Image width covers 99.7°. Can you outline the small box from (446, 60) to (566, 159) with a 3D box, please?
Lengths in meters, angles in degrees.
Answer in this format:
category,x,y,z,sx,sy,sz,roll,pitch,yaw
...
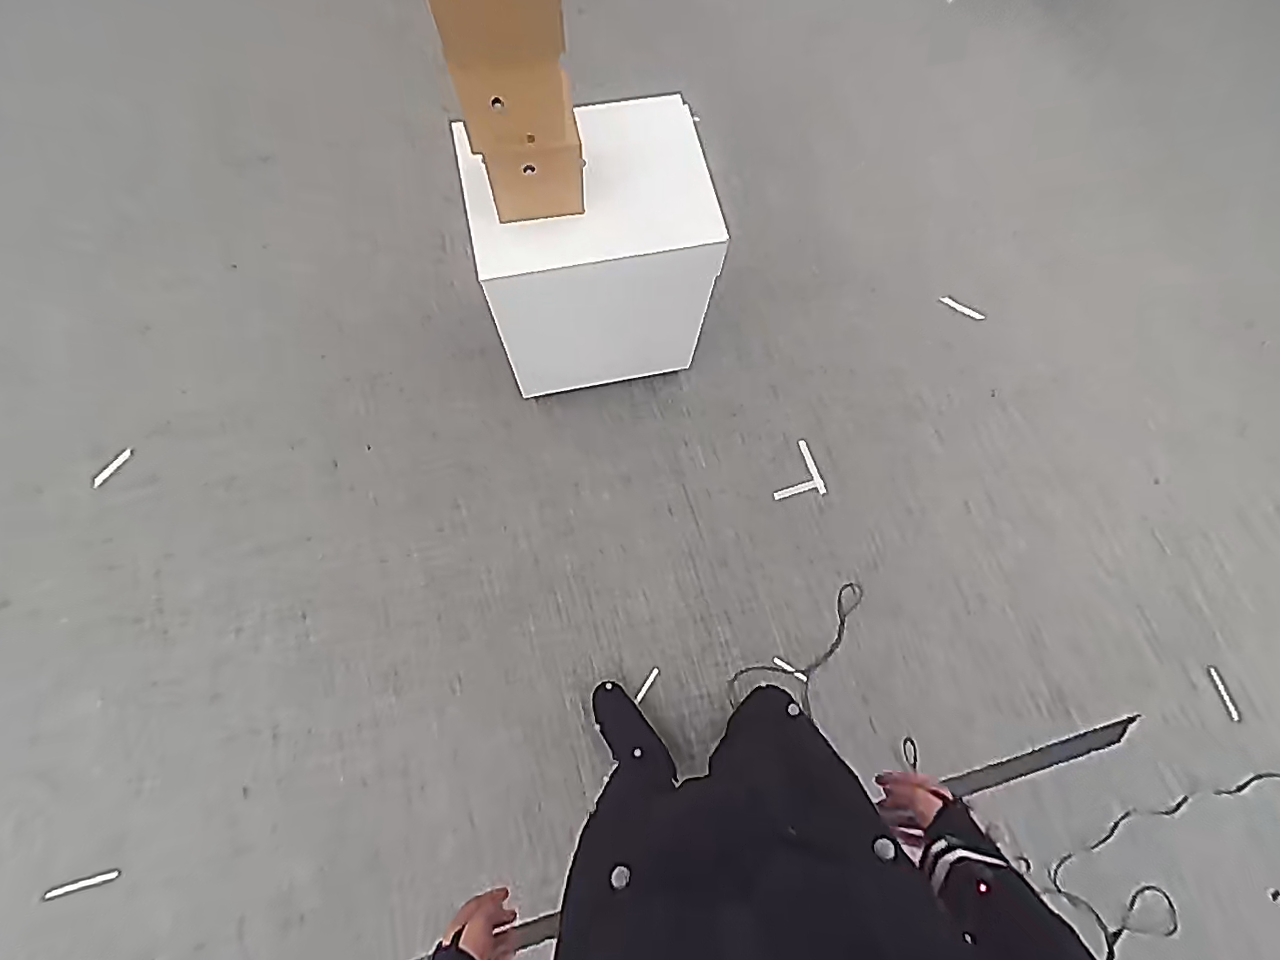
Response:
category,x,y,z,sx,sy,sz,roll,pitch,yaw
small box,-0.218,-0.659,0.890,0.168,0.176,0.179,-9,74,-6

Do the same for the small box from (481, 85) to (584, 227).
category,x,y,z,sx,sy,sz,roll,pitch,yaw
small box,-0.210,-0.618,1.047,0.179,0.176,0.168,-10,75,-7

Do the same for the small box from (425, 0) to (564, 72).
category,x,y,z,sx,sy,sz,roll,pitch,yaw
small box,-0.207,-0.692,0.728,0.179,0.176,0.168,-12,75,-7
